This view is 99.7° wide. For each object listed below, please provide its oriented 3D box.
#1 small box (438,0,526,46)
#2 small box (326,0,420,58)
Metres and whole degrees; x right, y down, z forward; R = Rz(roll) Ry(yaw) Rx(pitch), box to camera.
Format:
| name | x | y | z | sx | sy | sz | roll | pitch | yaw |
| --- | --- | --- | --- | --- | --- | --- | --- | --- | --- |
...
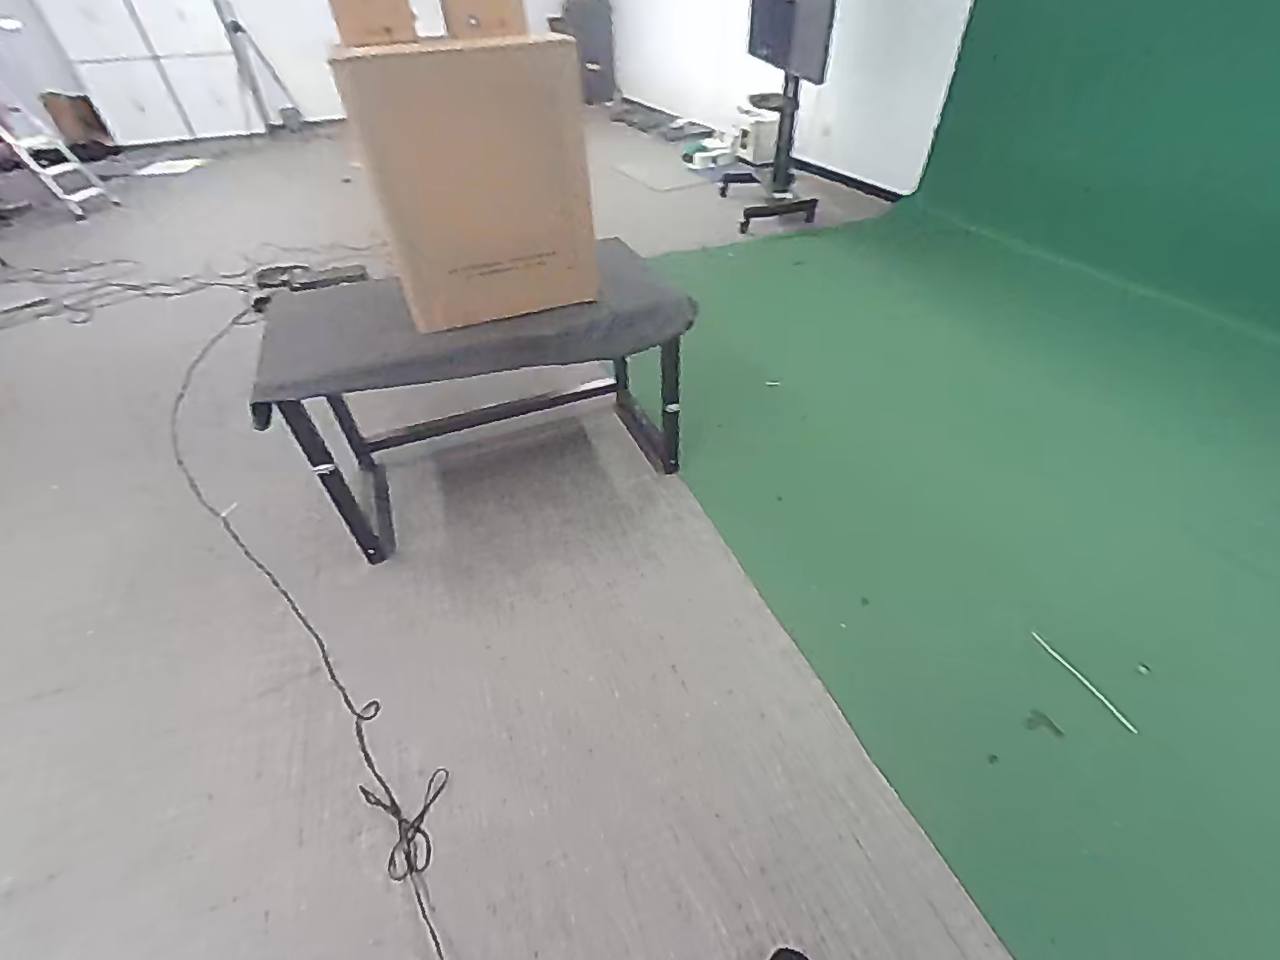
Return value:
| name | x | y | z | sx | sy | sz | roll | pitch | yaw |
| --- | --- | --- | --- | --- | --- | --- | --- | --- | --- |
| small box | -0.381 | -1.140 | 1.277 | 0.168 | 0.176 | 0.179 | -20 | 45 | -17 |
| small box | -0.612 | -1.065 | 1.216 | 0.168 | 0.176 | 0.179 | -19 | 44 | -14 |
